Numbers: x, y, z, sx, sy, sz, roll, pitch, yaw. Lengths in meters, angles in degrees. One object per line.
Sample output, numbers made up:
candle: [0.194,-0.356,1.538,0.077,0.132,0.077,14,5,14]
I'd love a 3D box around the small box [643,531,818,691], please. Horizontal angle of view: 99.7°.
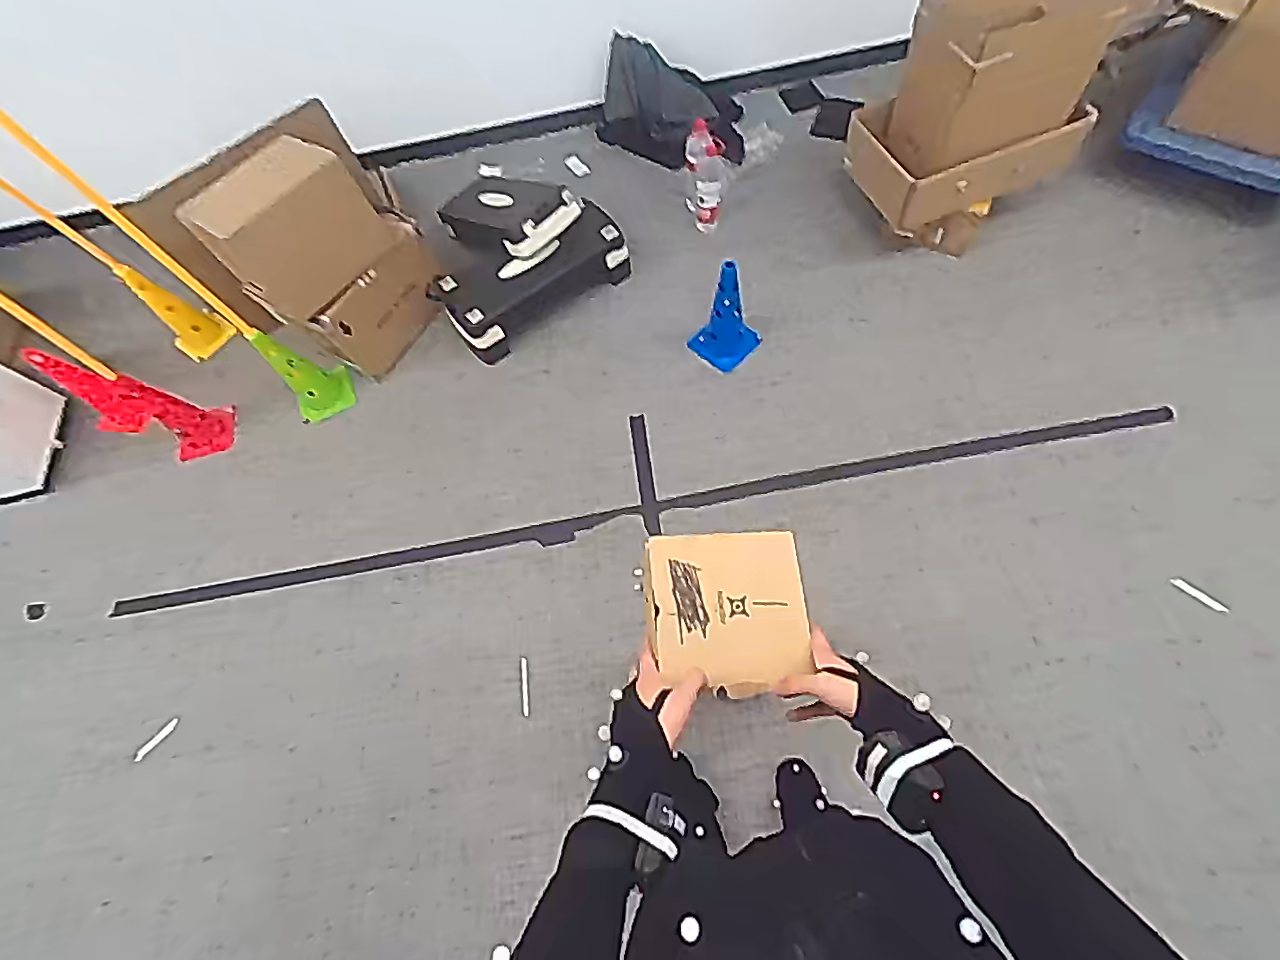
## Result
small box: [0.095,0.168,0.669,0.179,0.176,0.168,-4,70,-4]
